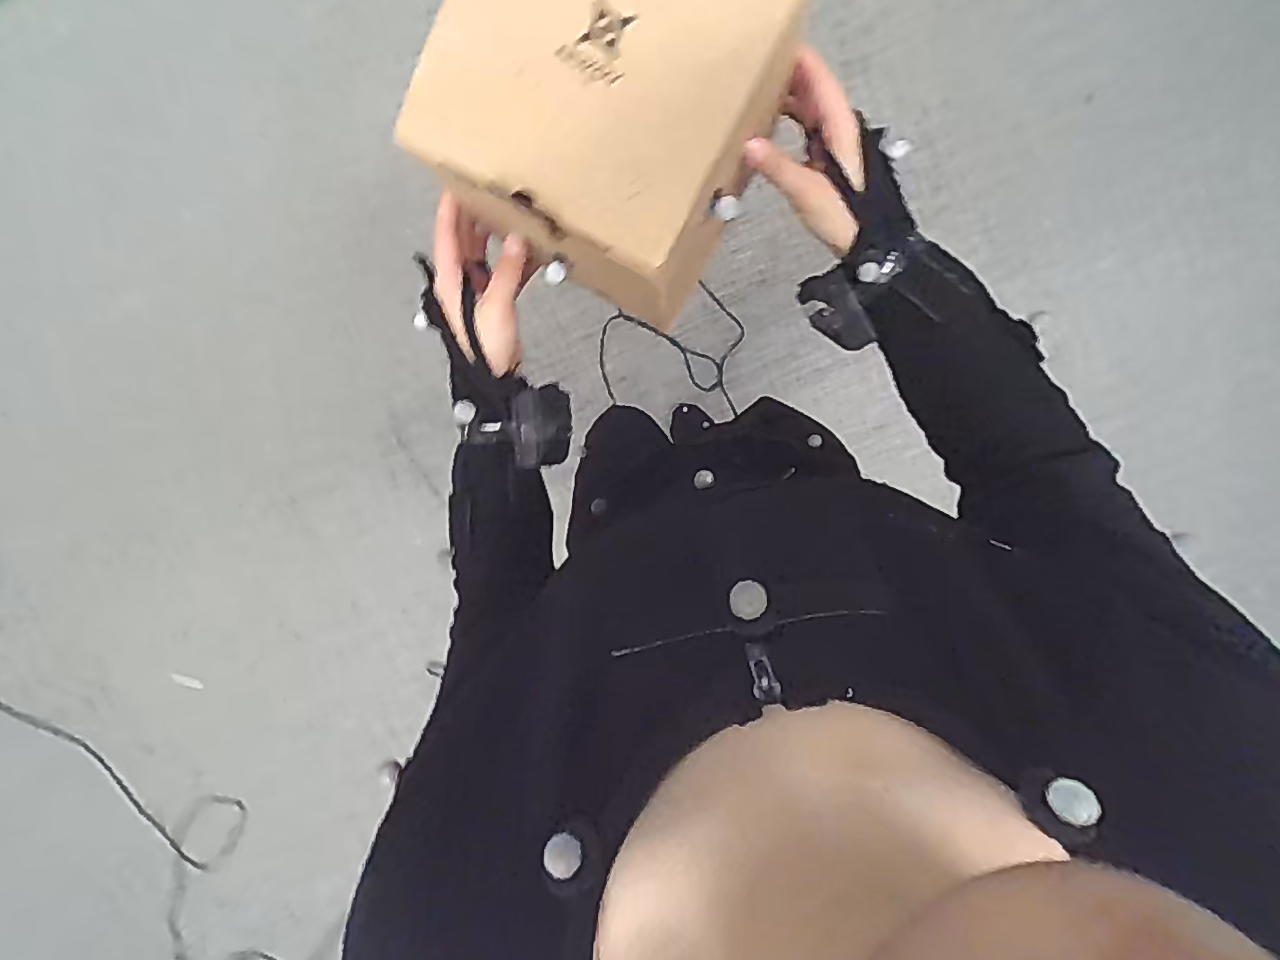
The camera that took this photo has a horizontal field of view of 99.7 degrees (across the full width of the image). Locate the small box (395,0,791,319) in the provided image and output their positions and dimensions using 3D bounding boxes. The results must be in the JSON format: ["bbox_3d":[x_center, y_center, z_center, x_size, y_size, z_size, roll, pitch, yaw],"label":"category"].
[{"bbox_3d":[-0.018,-0.230,0.362,0.168,0.176,0.179,28,98,3],"label":"small box"}]
